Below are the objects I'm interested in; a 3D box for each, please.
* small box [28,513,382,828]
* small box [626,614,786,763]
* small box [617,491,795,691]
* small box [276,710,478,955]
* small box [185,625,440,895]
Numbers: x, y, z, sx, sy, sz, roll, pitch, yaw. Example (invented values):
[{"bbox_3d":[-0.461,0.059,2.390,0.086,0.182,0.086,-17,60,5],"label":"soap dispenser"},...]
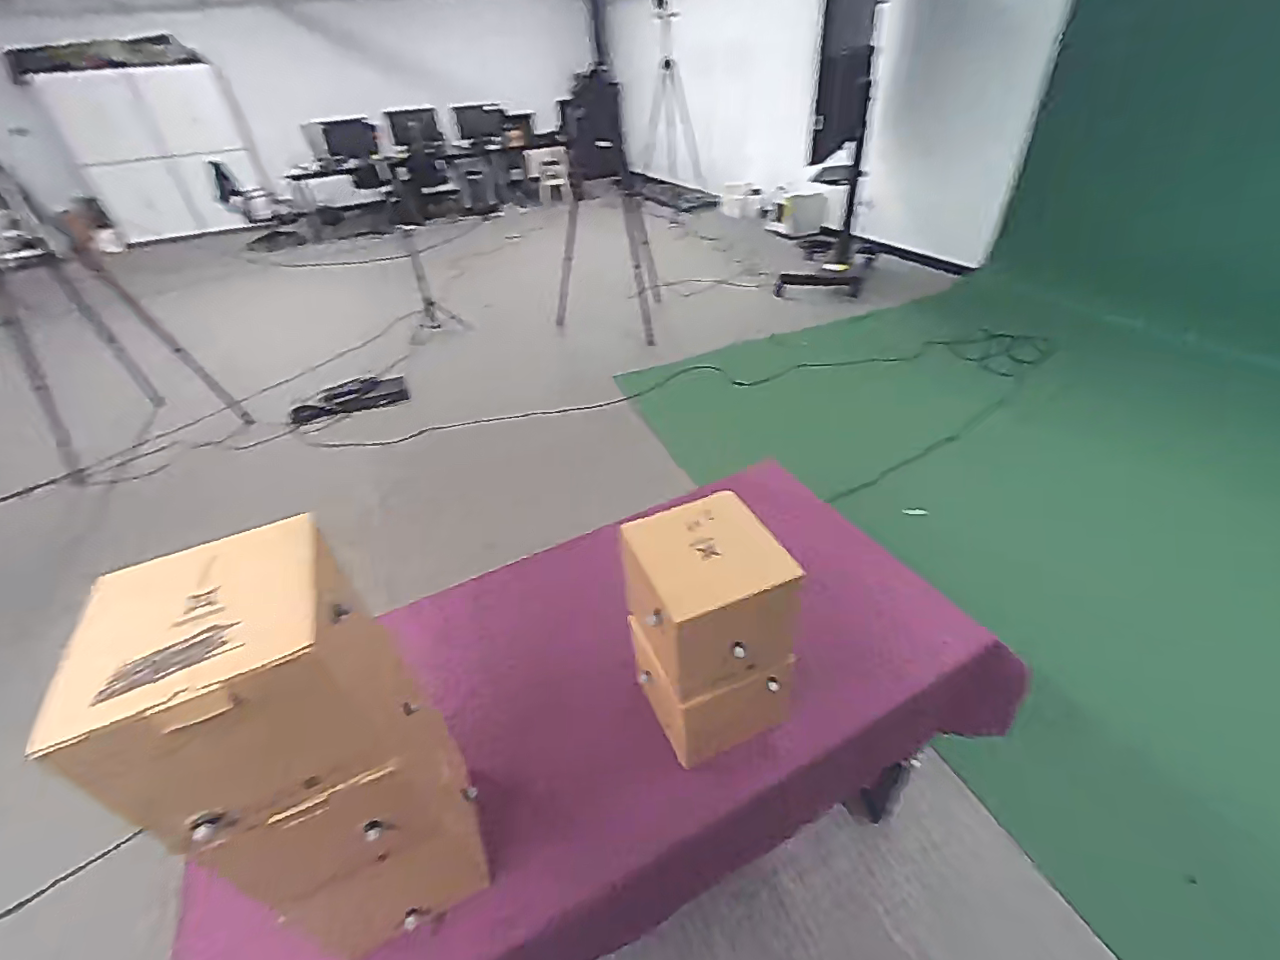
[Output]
[{"bbox_3d":[-0.342,0.164,0.471,0.168,0.176,0.179,-20,39,-19],"label":"small box"},{"bbox_3d":[0.095,0.281,0.806,0.179,0.176,0.168,-18,39,-17],"label":"small box"},{"bbox_3d":[0.081,0.148,0.710,0.168,0.176,0.179,-16,39,-15],"label":"small box"},{"bbox_3d":[-0.309,0.427,0.664,0.179,0.176,0.168,-19,39,-18],"label":"small box"},{"bbox_3d":[-0.322,0.295,0.569,0.168,0.176,0.179,-17,38,-16],"label":"small box"}]
